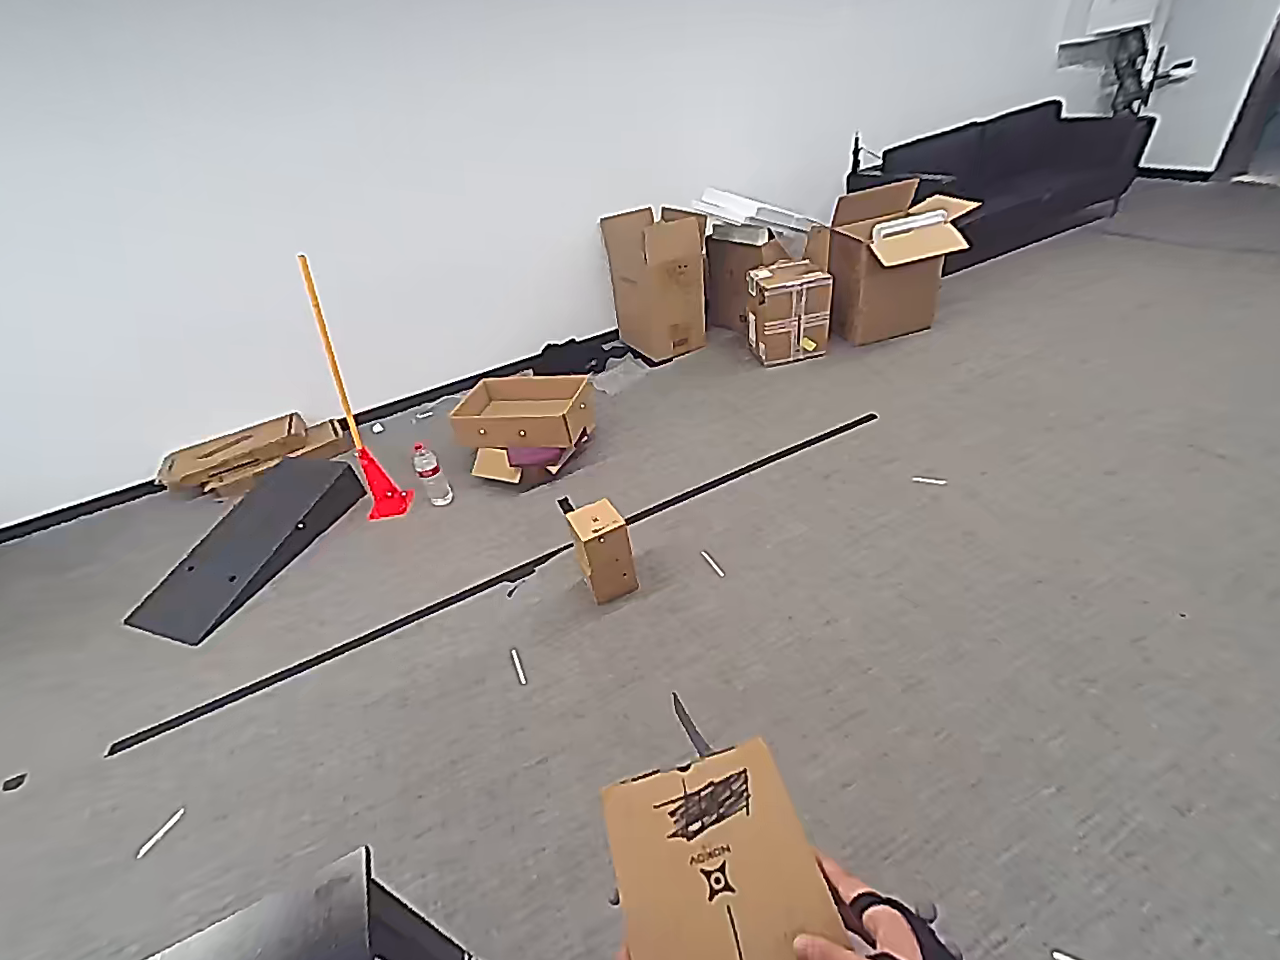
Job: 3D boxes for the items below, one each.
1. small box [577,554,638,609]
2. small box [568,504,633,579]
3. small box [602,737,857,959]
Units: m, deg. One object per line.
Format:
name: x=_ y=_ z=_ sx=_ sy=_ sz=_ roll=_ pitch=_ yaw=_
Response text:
small box: x=-0.118 y=0.353 z=2.042 sx=0.179 sy=0.176 sz=0.168 roll=-23 pitch=37 yaw=-15
small box: x=-0.141 y=0.222 z=1.946 sx=0.168 sy=0.176 sz=0.179 roll=-23 pitch=36 yaw=-17
small box: x=0.070 y=0.380 z=0.502 sx=0.168 sy=0.176 sz=0.179 roll=-15 pitch=42 yaw=-7
